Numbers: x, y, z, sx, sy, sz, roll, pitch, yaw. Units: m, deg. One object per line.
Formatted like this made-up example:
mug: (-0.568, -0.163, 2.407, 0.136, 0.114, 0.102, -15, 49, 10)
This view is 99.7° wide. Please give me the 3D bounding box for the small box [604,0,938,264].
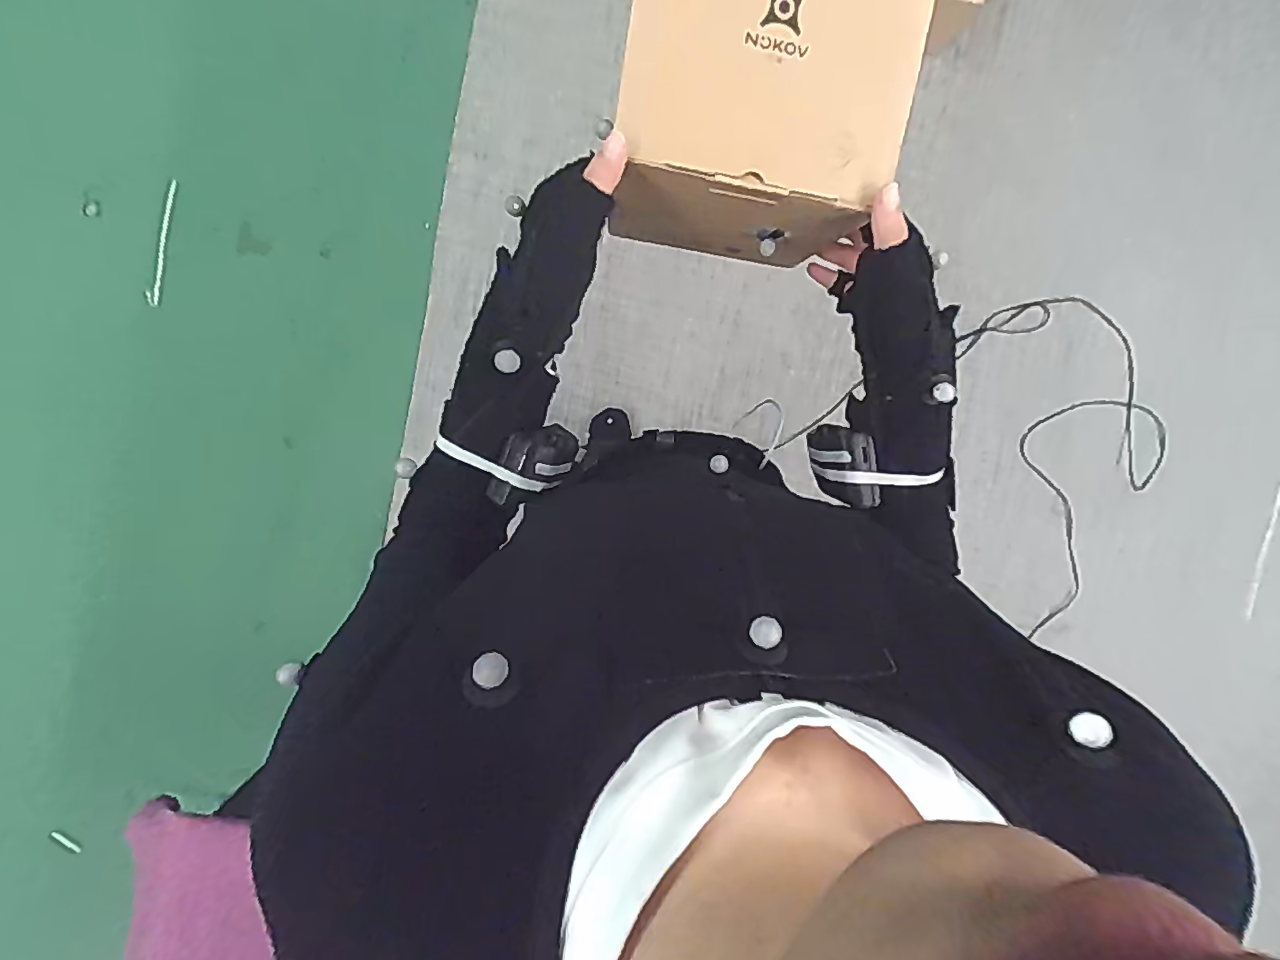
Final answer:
small box: (0.071, -0.262, 0.367, 0.168, 0.176, 0.179, 9, 100, -6)
